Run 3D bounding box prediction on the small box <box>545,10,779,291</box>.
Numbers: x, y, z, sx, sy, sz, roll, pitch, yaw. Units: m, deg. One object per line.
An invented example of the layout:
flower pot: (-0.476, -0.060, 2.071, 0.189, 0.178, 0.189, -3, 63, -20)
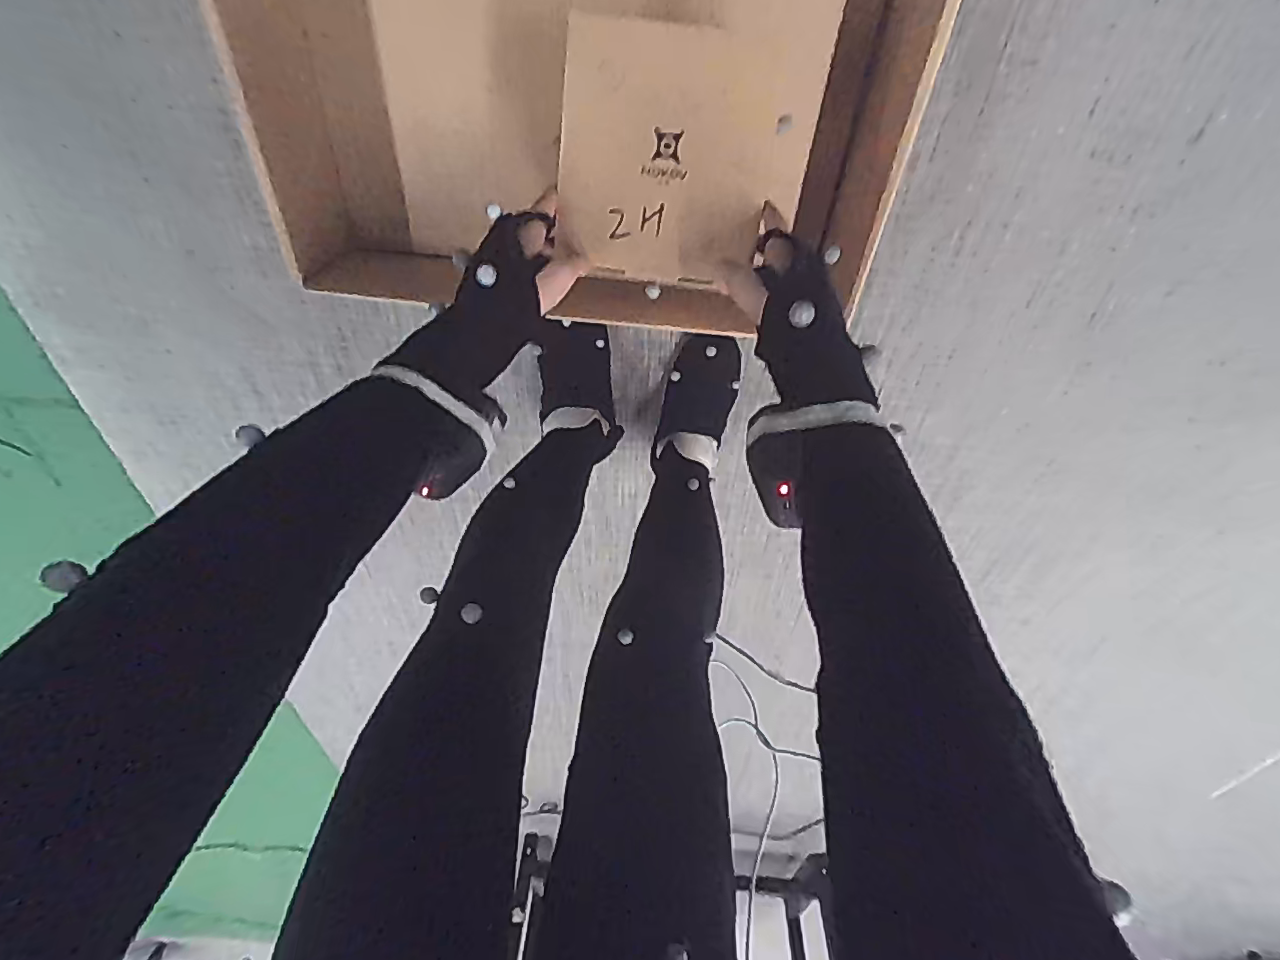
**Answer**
small box: (0.017, -0.279, 0.501, 0.168, 0.176, 0.179, 8, 108, 2)
